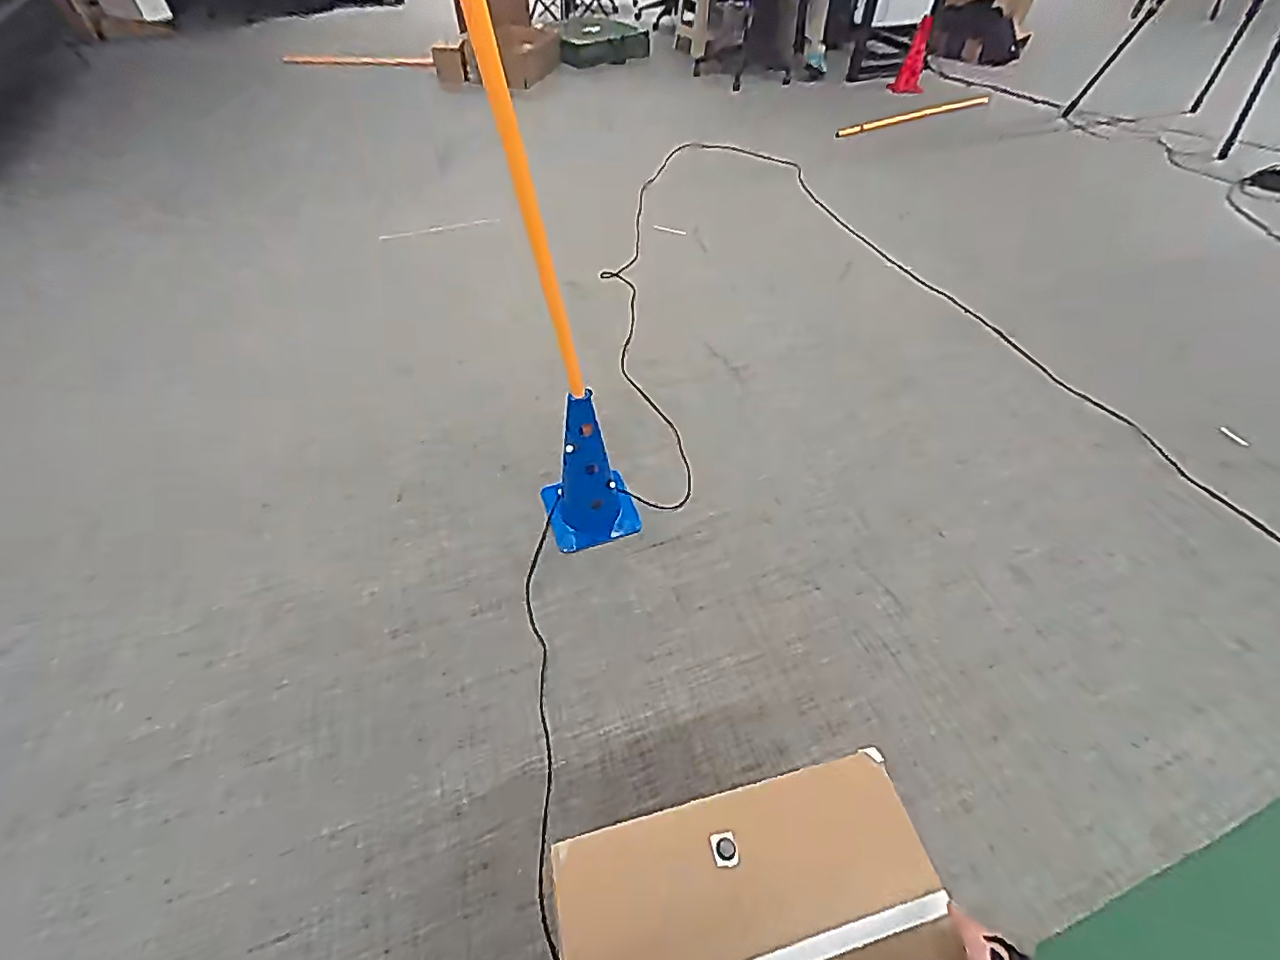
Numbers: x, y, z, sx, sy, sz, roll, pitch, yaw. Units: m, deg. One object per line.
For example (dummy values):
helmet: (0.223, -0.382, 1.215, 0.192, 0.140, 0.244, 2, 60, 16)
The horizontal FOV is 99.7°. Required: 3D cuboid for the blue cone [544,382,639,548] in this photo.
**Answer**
blue cone: (-0.113, -0.041, 1.128, 0.193, 0.380, 0.192, -19, 52, -14)
